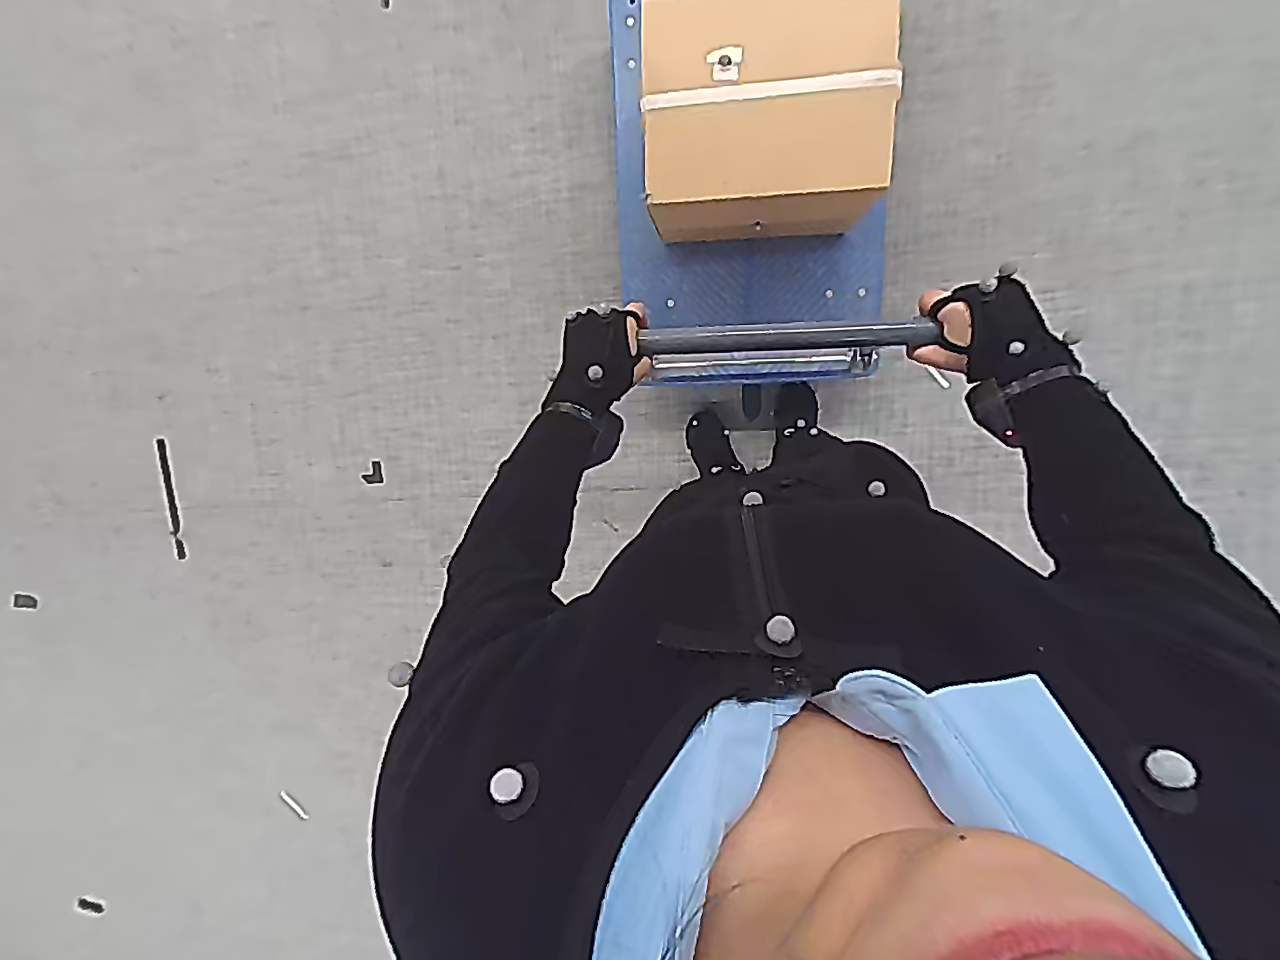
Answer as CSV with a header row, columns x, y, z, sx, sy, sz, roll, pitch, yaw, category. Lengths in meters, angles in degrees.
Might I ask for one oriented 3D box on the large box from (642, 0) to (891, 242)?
x,y,z,sx,sy,sz,roll,pitch,yaw,category
0.229,-0.667,1.046,0.408,0.320,0.320,0,100,9,large box
